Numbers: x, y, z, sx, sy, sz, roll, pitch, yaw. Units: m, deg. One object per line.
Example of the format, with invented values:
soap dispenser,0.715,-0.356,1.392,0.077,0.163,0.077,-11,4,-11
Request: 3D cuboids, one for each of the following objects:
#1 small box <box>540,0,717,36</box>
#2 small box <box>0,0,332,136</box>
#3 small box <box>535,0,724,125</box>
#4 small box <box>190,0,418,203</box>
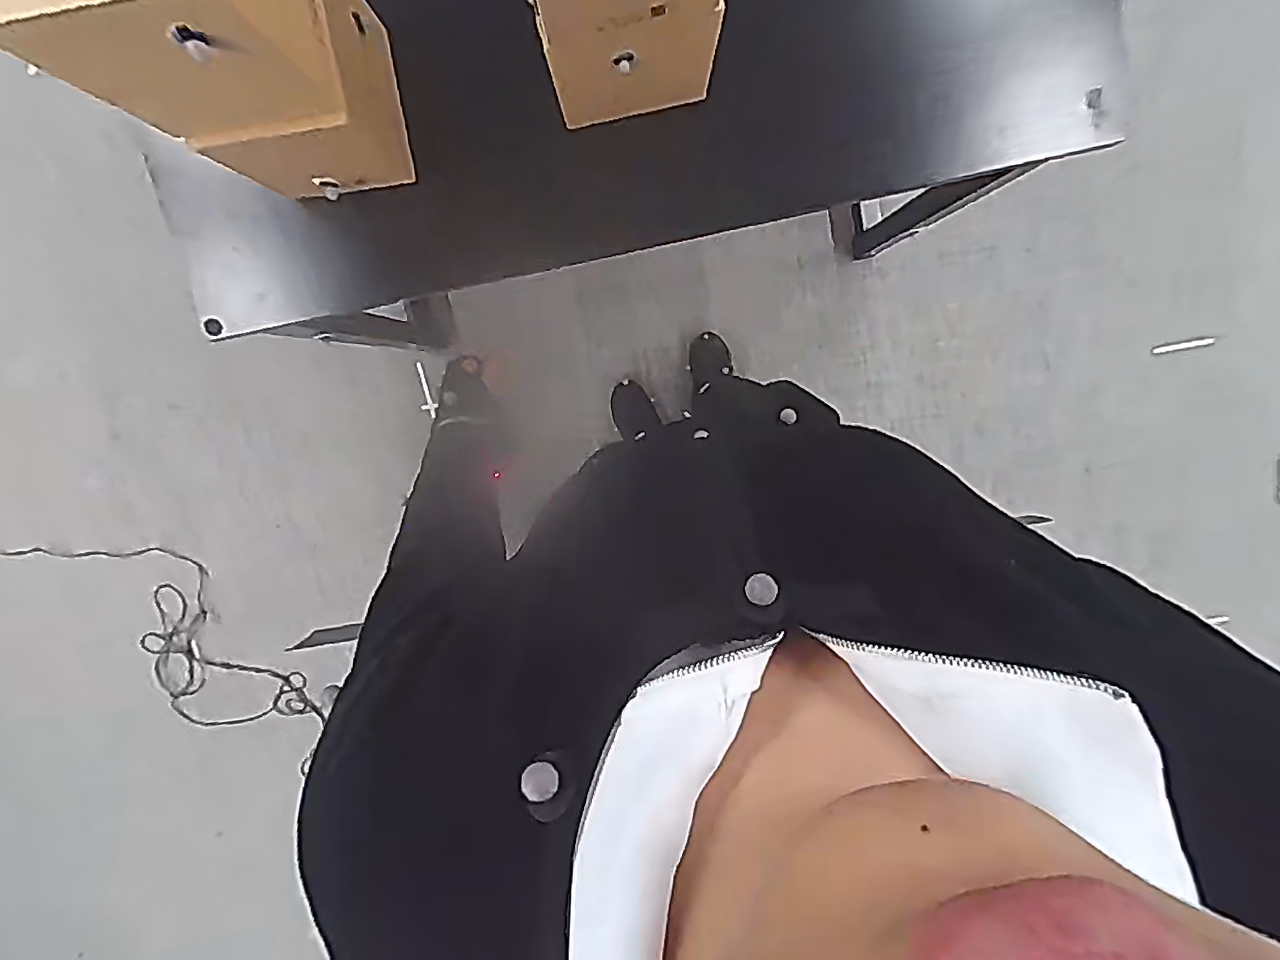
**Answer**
small box,-0.020,-0.488,0.415,0.168,0.176,0.179,-12,101,3
small box,-0.380,-0.409,0.433,0.179,0.176,0.168,-8,100,3
small box,-0.019,-0.514,0.577,0.179,0.176,0.168,-11,100,2
small box,-0.372,-0.434,0.596,0.168,0.176,0.179,-8,101,3
